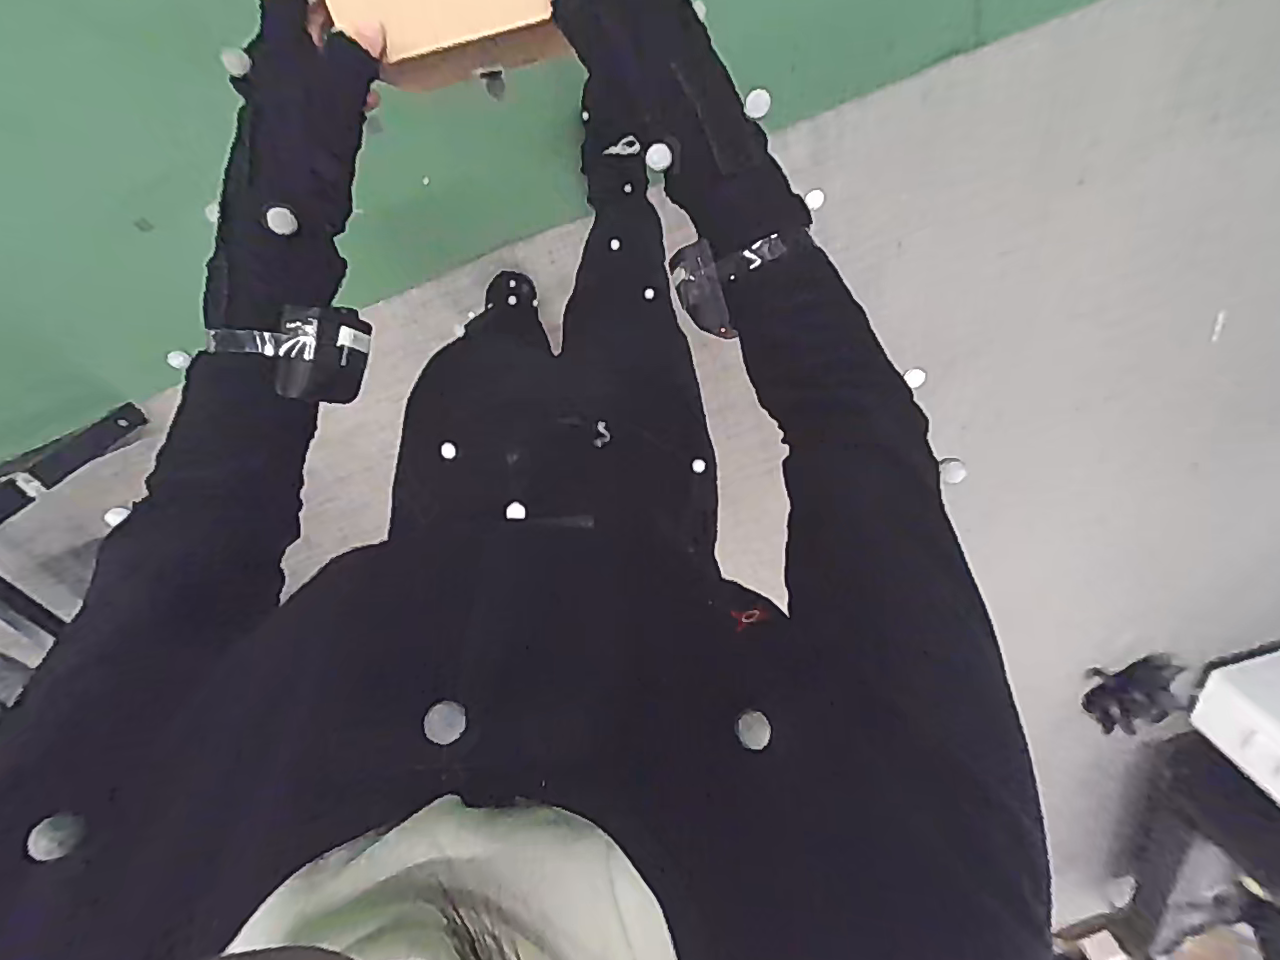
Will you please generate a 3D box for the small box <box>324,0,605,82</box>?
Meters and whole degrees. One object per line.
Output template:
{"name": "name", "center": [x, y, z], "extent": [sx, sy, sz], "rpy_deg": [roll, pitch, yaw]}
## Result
{"name": "small box", "center": [-0.121, -0.388, 0.348], "extent": [0.168, 0.176, 0.179], "rpy_deg": [-11, 121, 3]}
